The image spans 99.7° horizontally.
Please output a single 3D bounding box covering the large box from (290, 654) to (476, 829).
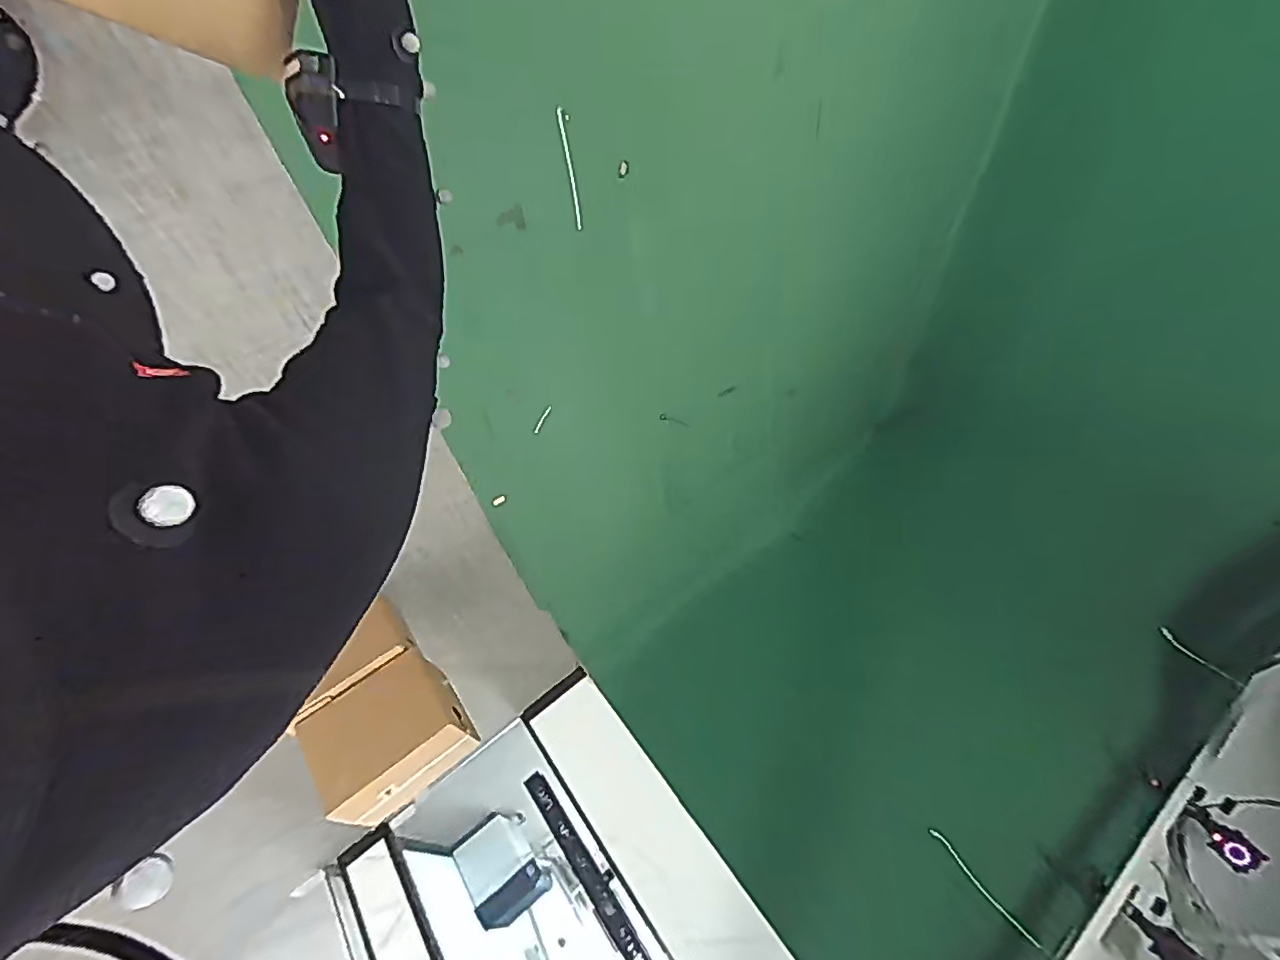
[{"bbox_3d":[-0.819,0.843,1.759,0.408,0.320,0.320,-33,149,-19],"label":"large box"}]
